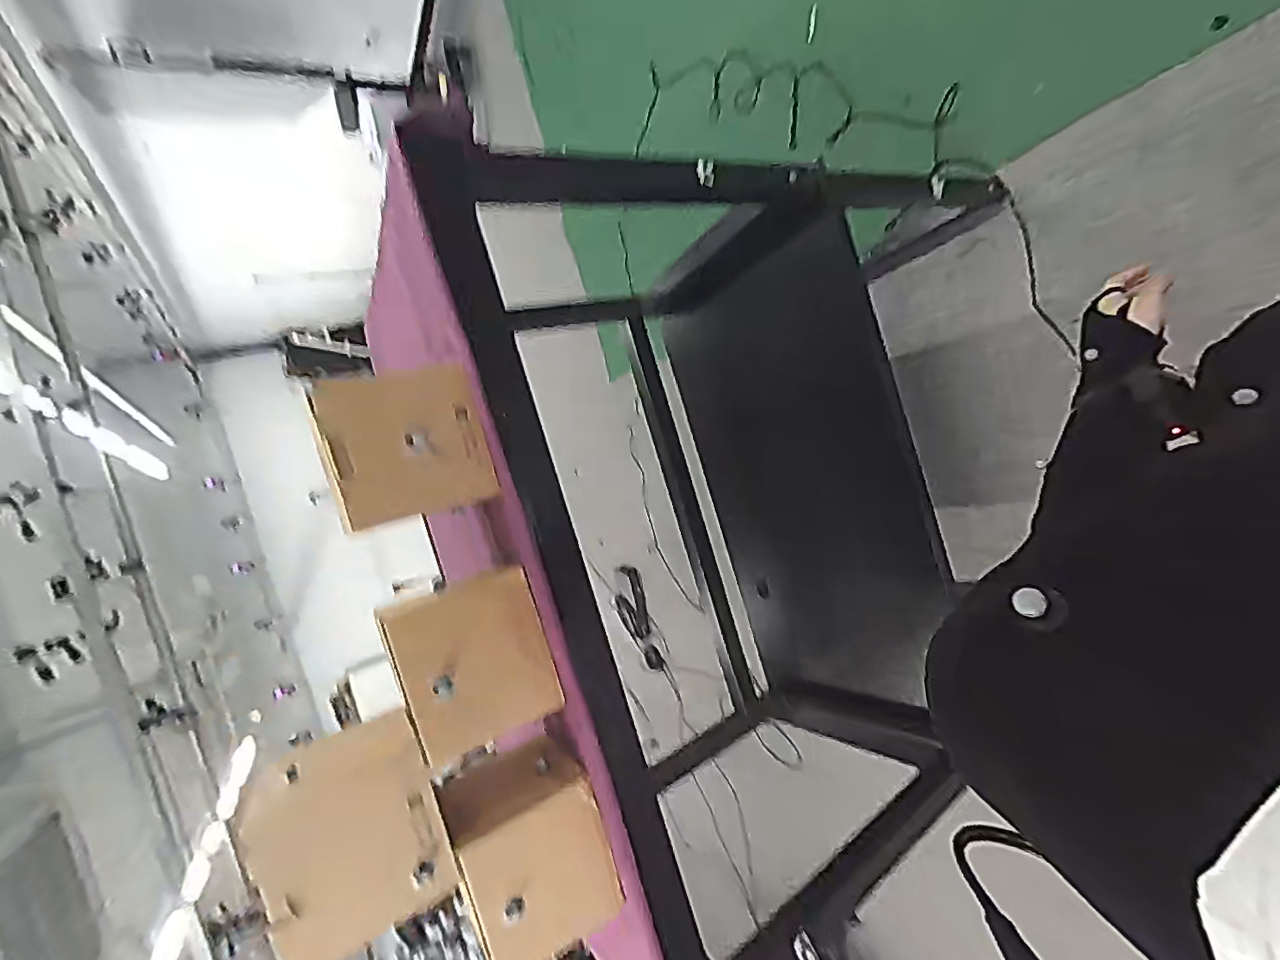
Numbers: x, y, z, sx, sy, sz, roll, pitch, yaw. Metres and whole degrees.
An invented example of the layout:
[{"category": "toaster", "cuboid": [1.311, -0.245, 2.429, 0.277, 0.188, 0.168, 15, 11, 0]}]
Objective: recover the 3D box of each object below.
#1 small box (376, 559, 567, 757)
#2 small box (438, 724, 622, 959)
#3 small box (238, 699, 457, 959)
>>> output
[{"category": "small box", "cuboid": [-0.216, 0.204, 0.685, 0.168, 0.176, 0.179, -17, 91, 60]}, {"category": "small box", "cuboid": [-0.142, 0.451, 0.686, 0.168, 0.176, 0.179, -8, 97, 59]}, {"category": "small box", "cuboid": [-0.320, 0.373, 0.614, 0.179, 0.176, 0.168, -17, 90, 61]}]
